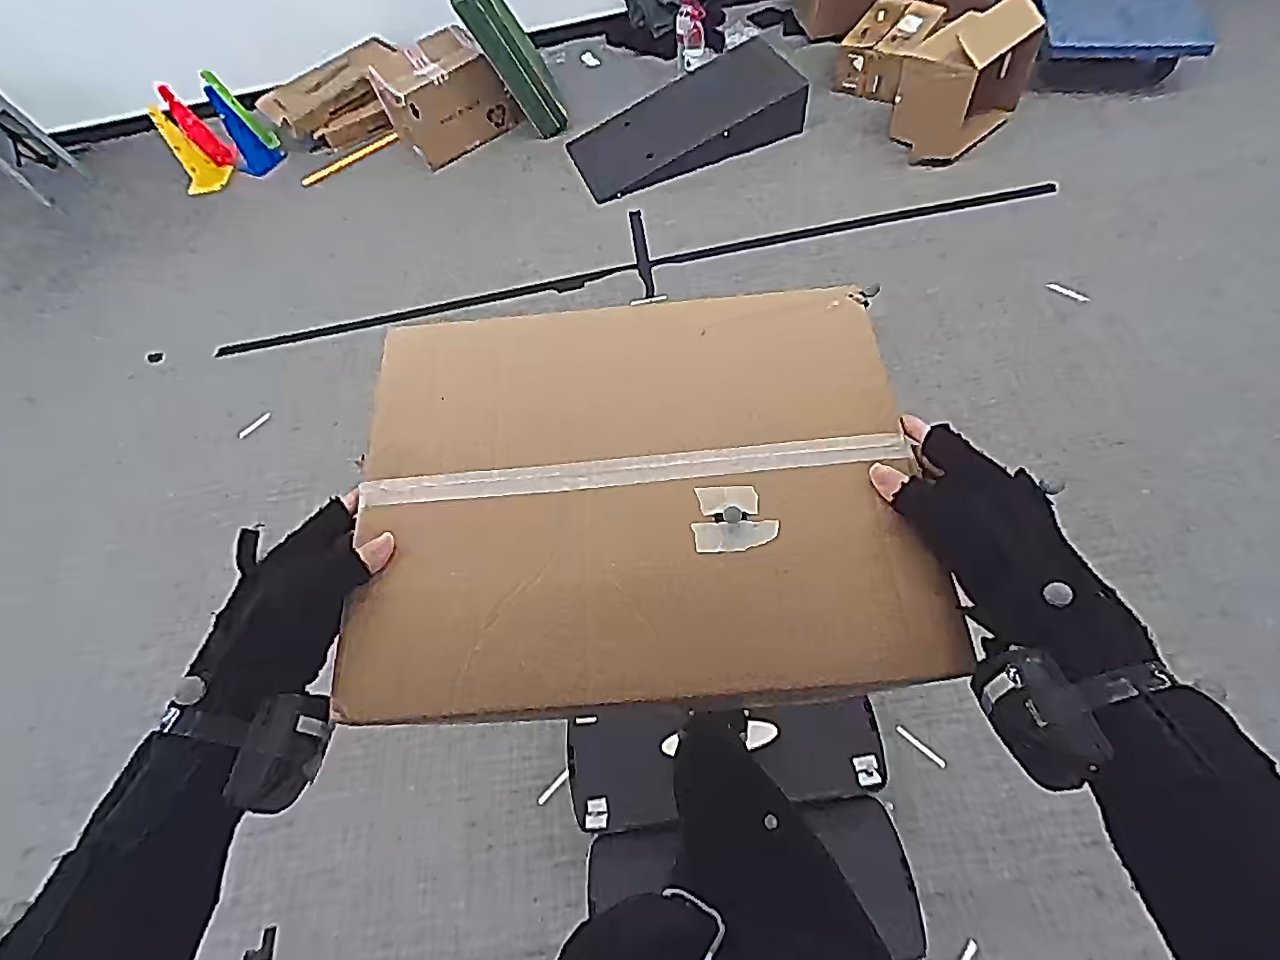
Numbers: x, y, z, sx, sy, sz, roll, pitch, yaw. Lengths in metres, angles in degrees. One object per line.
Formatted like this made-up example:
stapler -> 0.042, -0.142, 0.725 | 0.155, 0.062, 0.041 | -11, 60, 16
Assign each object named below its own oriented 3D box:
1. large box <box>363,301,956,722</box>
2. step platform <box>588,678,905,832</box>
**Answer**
large box -> 0.006, 0.060, 0.552 | 0.408, 0.320, 0.320 | -5, 66, 1
step platform -> 0.223, 0.592, 1.238 | 0.684, 0.204, 0.286 | -10, 61, 2
